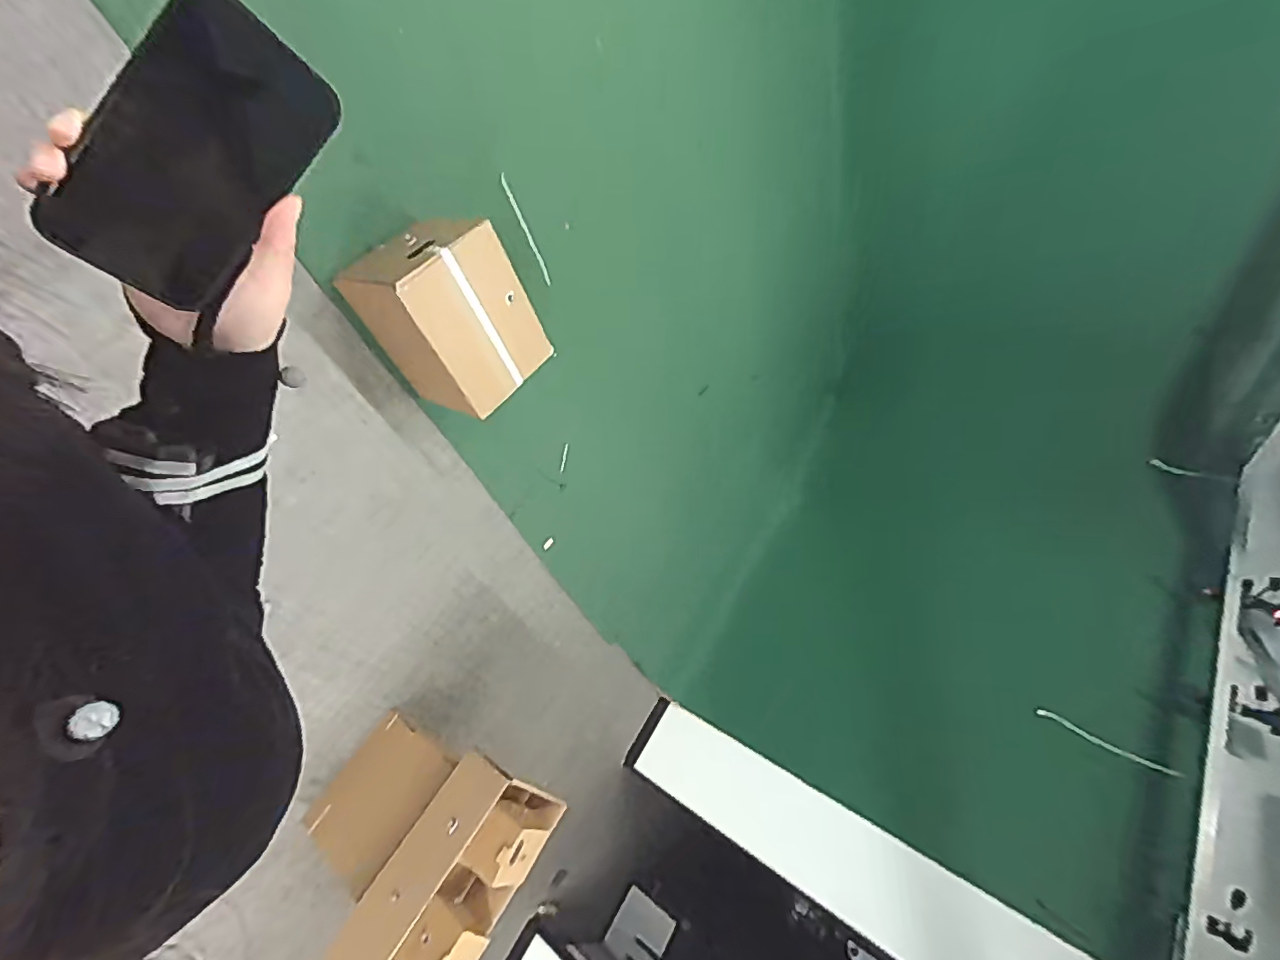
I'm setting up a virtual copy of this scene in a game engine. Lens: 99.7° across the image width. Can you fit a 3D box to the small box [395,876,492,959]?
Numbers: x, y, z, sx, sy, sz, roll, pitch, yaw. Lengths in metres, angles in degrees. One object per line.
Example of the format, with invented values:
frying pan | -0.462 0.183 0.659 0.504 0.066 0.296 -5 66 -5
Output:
small box | -0.576 1.305 1.579 0.168 0.176 0.179 -47 139 -28
